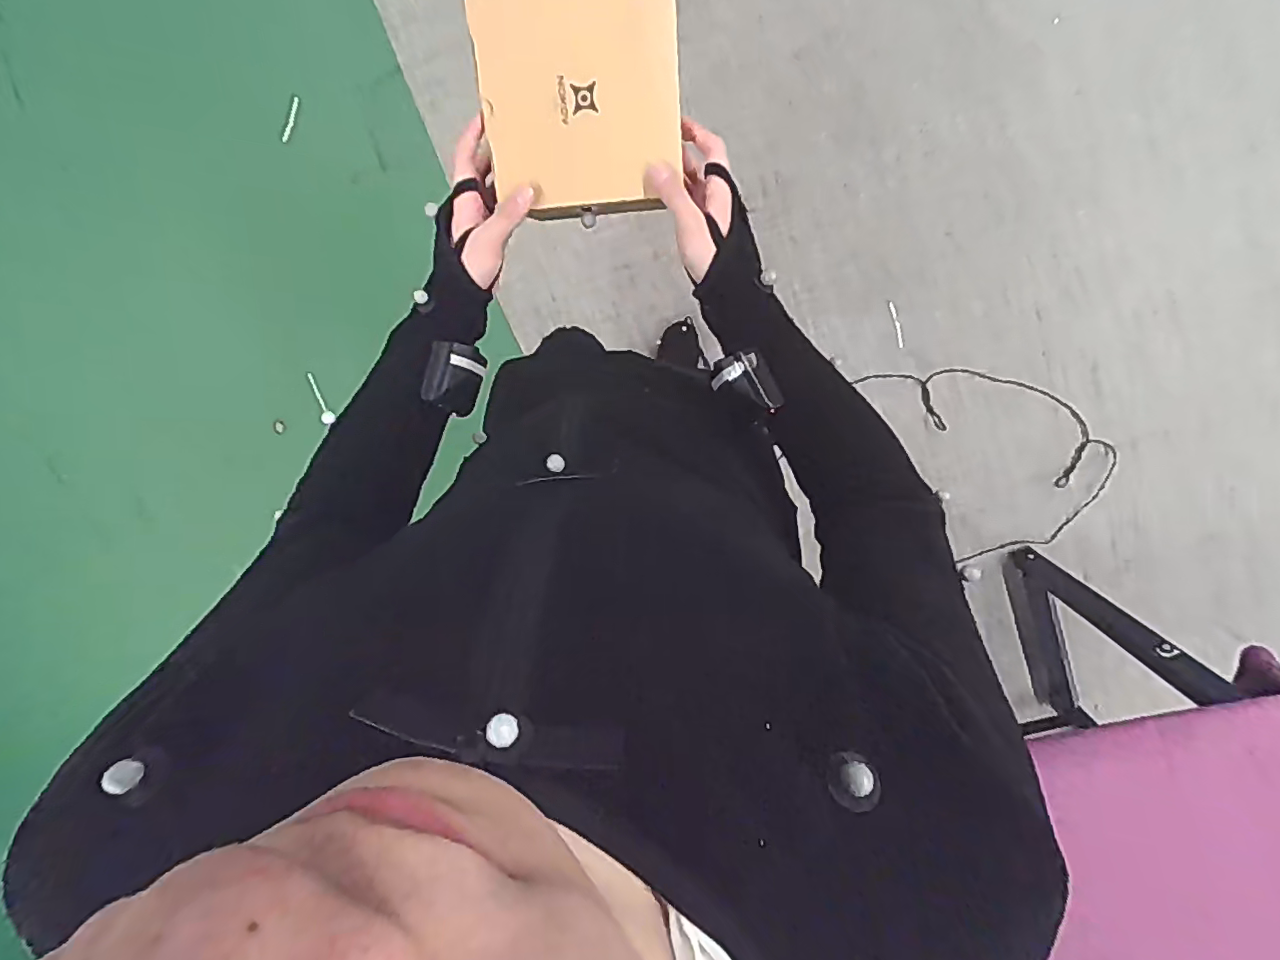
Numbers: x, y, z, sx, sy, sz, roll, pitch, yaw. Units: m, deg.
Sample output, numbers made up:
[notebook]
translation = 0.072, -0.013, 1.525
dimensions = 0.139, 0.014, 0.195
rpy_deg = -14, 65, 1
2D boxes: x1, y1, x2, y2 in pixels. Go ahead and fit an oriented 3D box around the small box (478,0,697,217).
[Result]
[small box]
translation = -0.037, -0.359, 0.536
dimensions = 0.179, 0.176, 0.168
rpy_deg = -2, 114, 5
